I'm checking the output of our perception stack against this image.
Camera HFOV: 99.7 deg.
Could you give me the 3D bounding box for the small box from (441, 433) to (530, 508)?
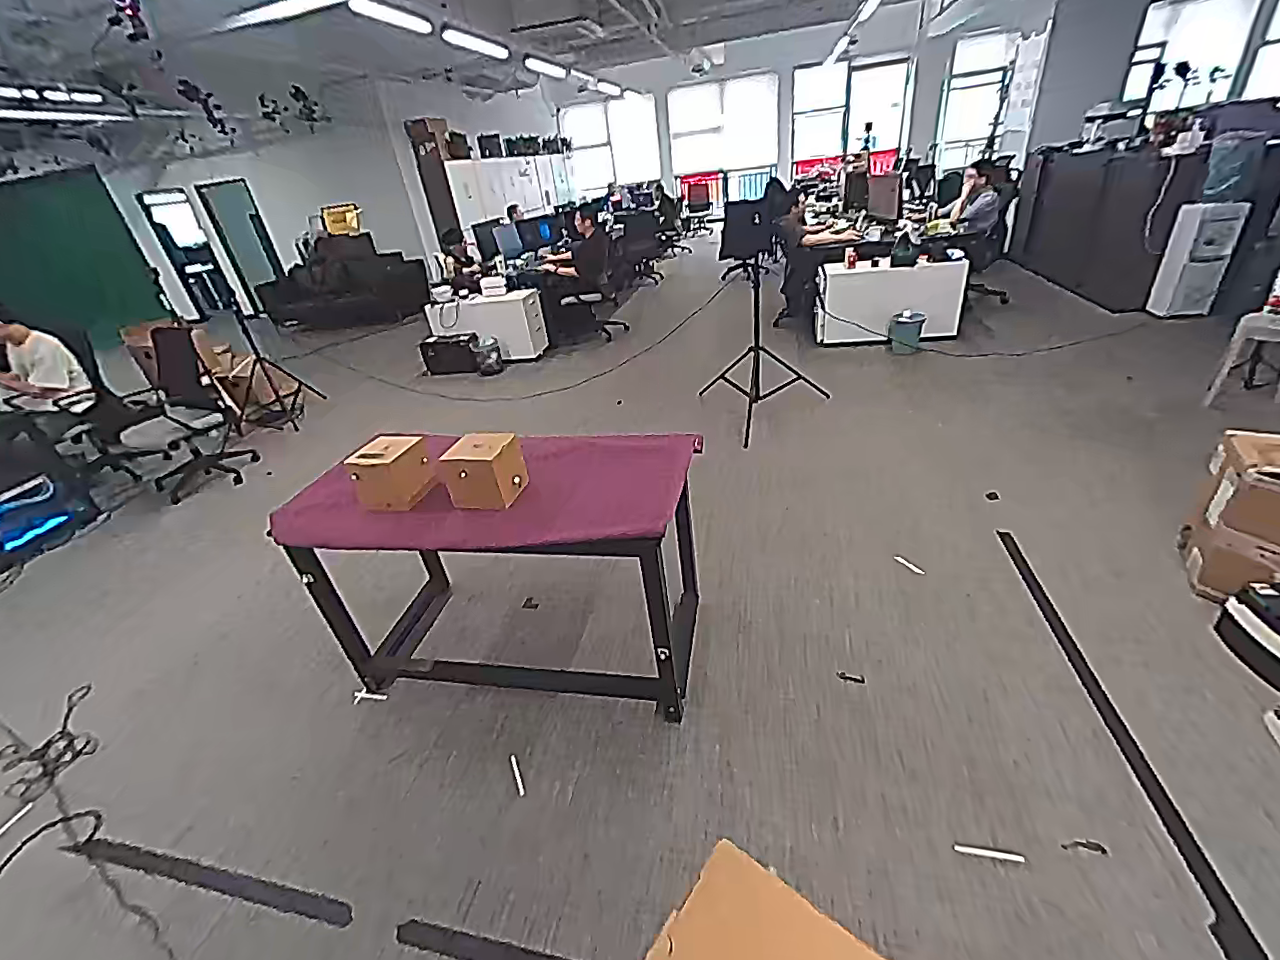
[{"bbox_3d":[-0.454,-0.028,1.611,0.179,0.176,0.168,2,32,16],"label":"small box"}]
